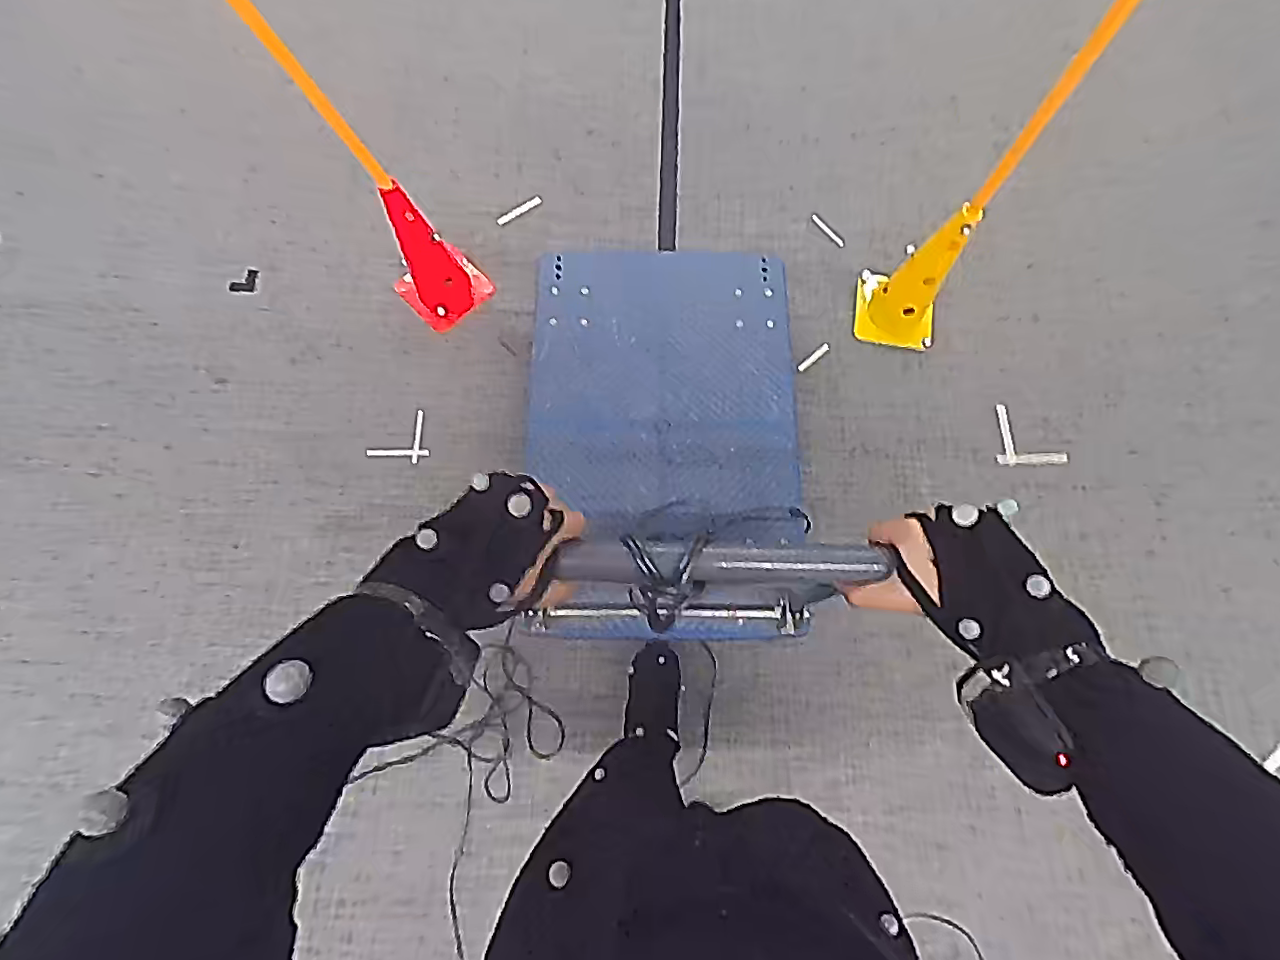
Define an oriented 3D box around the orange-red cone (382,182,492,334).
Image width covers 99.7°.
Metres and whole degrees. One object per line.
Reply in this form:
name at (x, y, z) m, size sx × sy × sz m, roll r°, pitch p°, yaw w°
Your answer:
orange-red cone at (-0.512, -0.545, 1.268) m, size 0.199 × 0.360 × 0.198 m, roll -42°, pitch 80°, yaw -12°
